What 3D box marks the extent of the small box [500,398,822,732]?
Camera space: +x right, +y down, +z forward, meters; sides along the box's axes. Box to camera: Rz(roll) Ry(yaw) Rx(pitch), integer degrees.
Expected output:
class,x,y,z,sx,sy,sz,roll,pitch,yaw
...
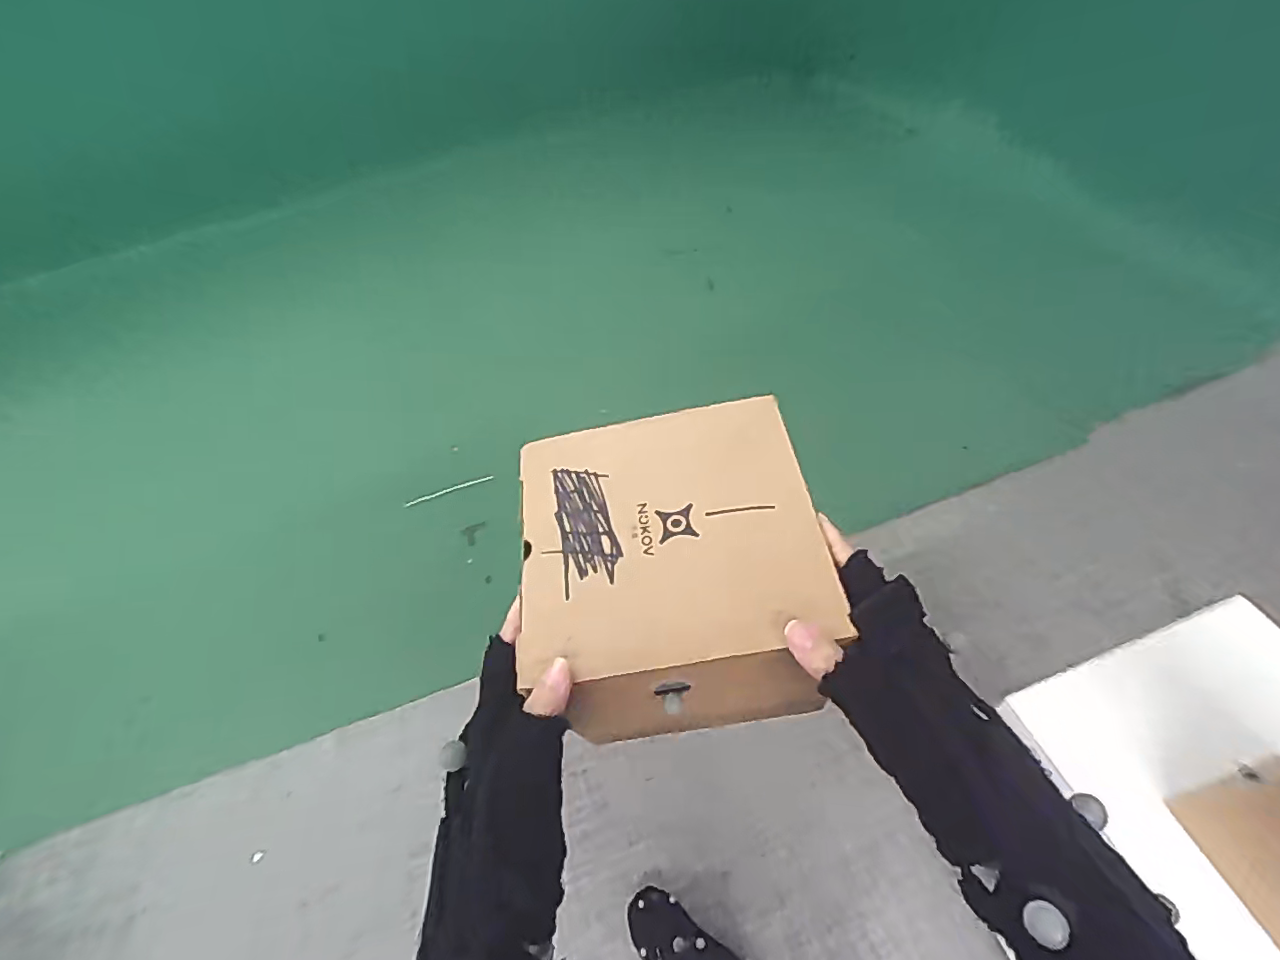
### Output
class,x,y,z,sx,sy,sz,roll,pitch,yaw
small box,0.015,0.071,0.391,0.179,0.176,0.168,-11,54,3

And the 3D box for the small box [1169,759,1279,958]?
class,x,y,z,sx,sy,sz,roll,pitch,yaw
small box,0.721,0.387,0.548,0.168,0.176,0.179,-18,54,-4
